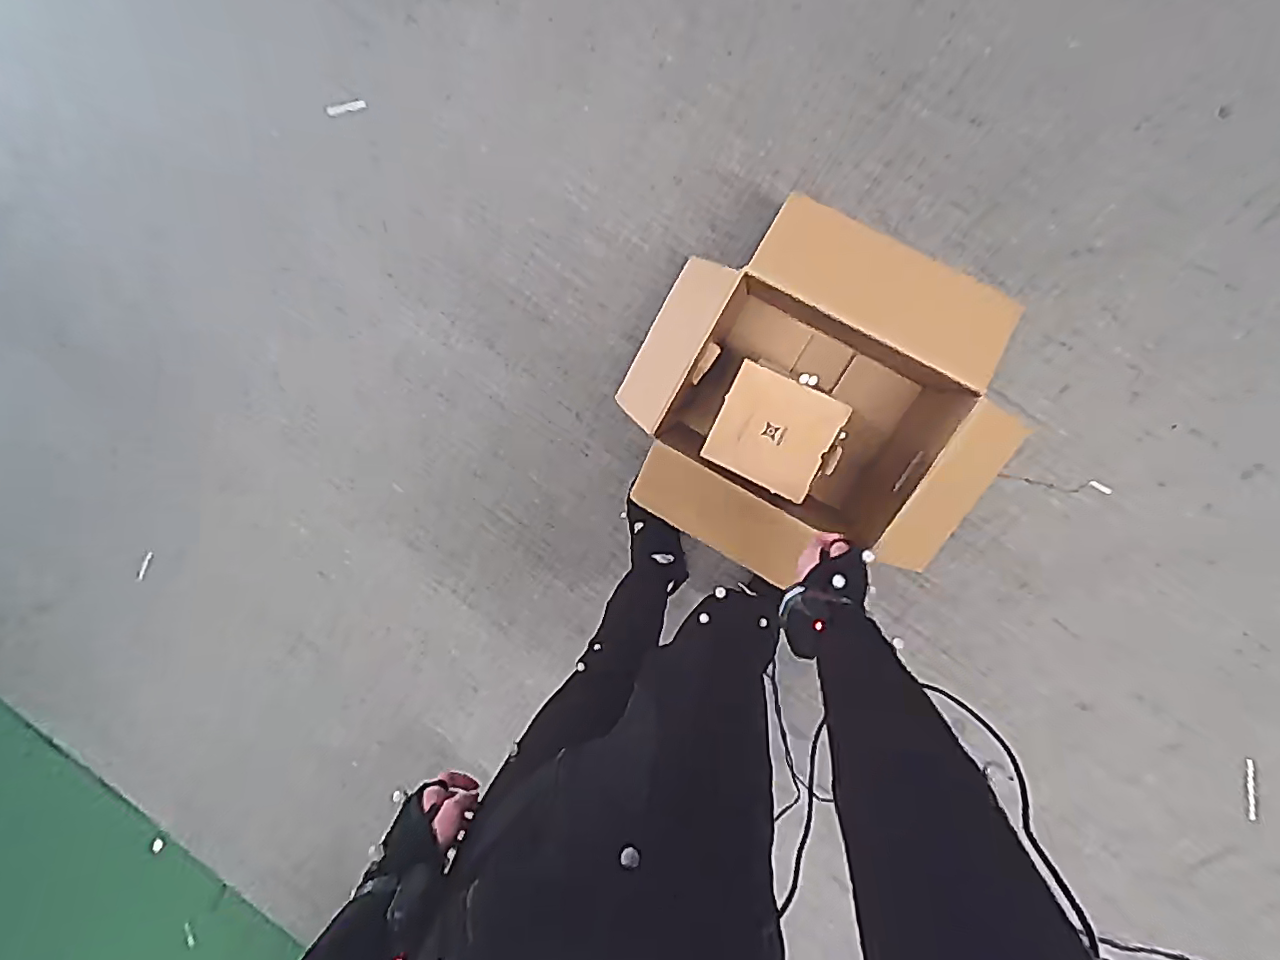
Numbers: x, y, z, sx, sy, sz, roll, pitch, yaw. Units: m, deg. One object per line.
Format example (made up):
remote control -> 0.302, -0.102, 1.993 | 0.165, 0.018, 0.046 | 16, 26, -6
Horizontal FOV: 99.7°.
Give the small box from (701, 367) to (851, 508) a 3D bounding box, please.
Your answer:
small box -> 0.228, -0.075, 0.906 | 0.179, 0.176, 0.168 | 28, 103, 13
